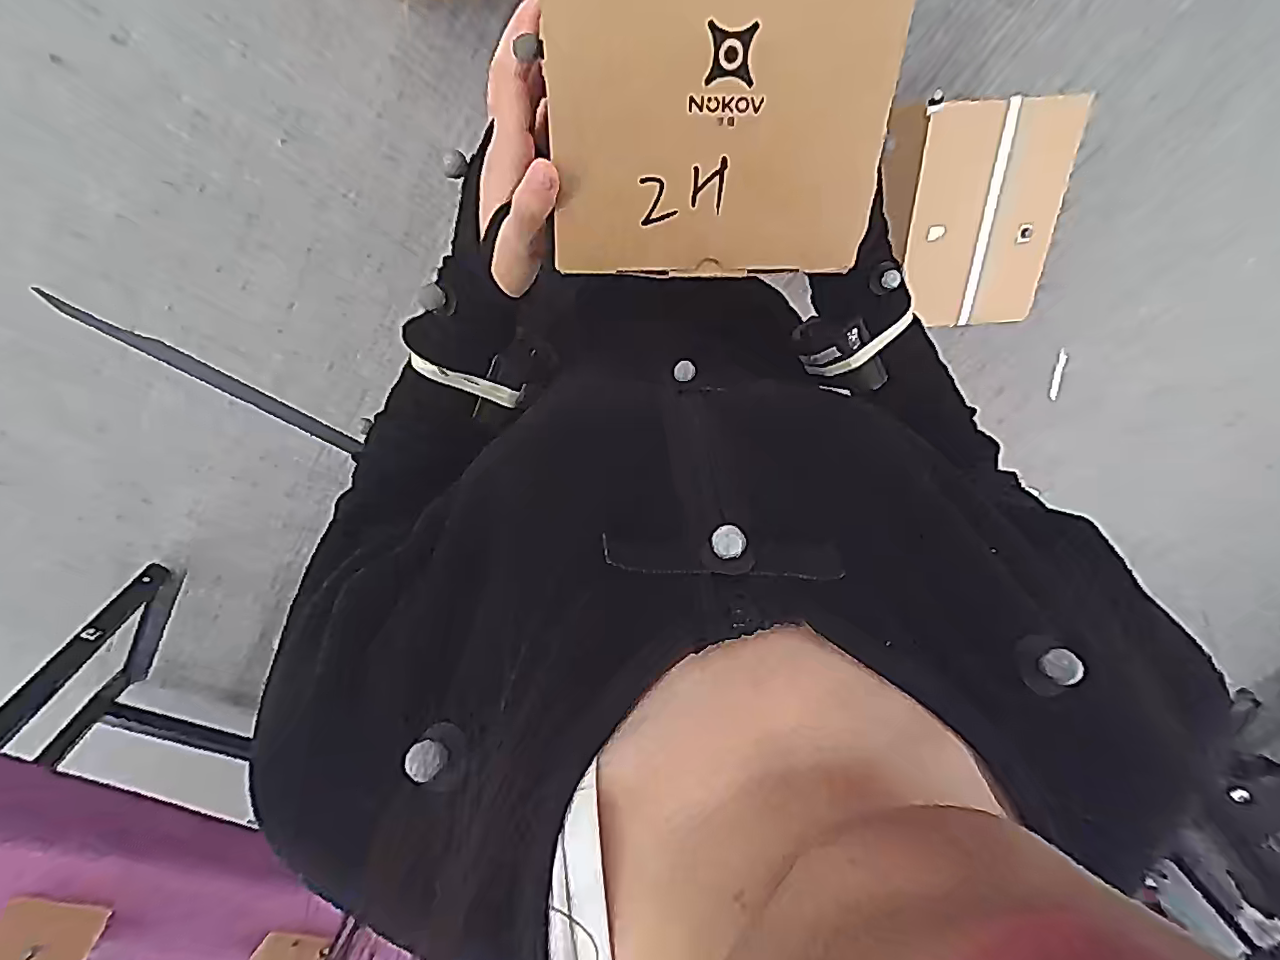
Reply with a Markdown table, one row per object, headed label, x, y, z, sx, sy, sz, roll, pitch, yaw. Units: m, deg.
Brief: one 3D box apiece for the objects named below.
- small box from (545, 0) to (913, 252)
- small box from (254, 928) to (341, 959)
| label | x | y | z | sx | sy | sz | roll | pitch | yaw |
| --- | --- | --- | --- | --- | --- | --- | --- | --- | --- |
| small box | 0.031 | -0.239 | 0.309 | 0.168 | 0.176 | 0.179 | -3 | 124 | -6 |
| small box | -0.834 | 1.192 | 1.268 | 0.168 | 0.176 | 0.179 | 30 | 113 | -21 |
